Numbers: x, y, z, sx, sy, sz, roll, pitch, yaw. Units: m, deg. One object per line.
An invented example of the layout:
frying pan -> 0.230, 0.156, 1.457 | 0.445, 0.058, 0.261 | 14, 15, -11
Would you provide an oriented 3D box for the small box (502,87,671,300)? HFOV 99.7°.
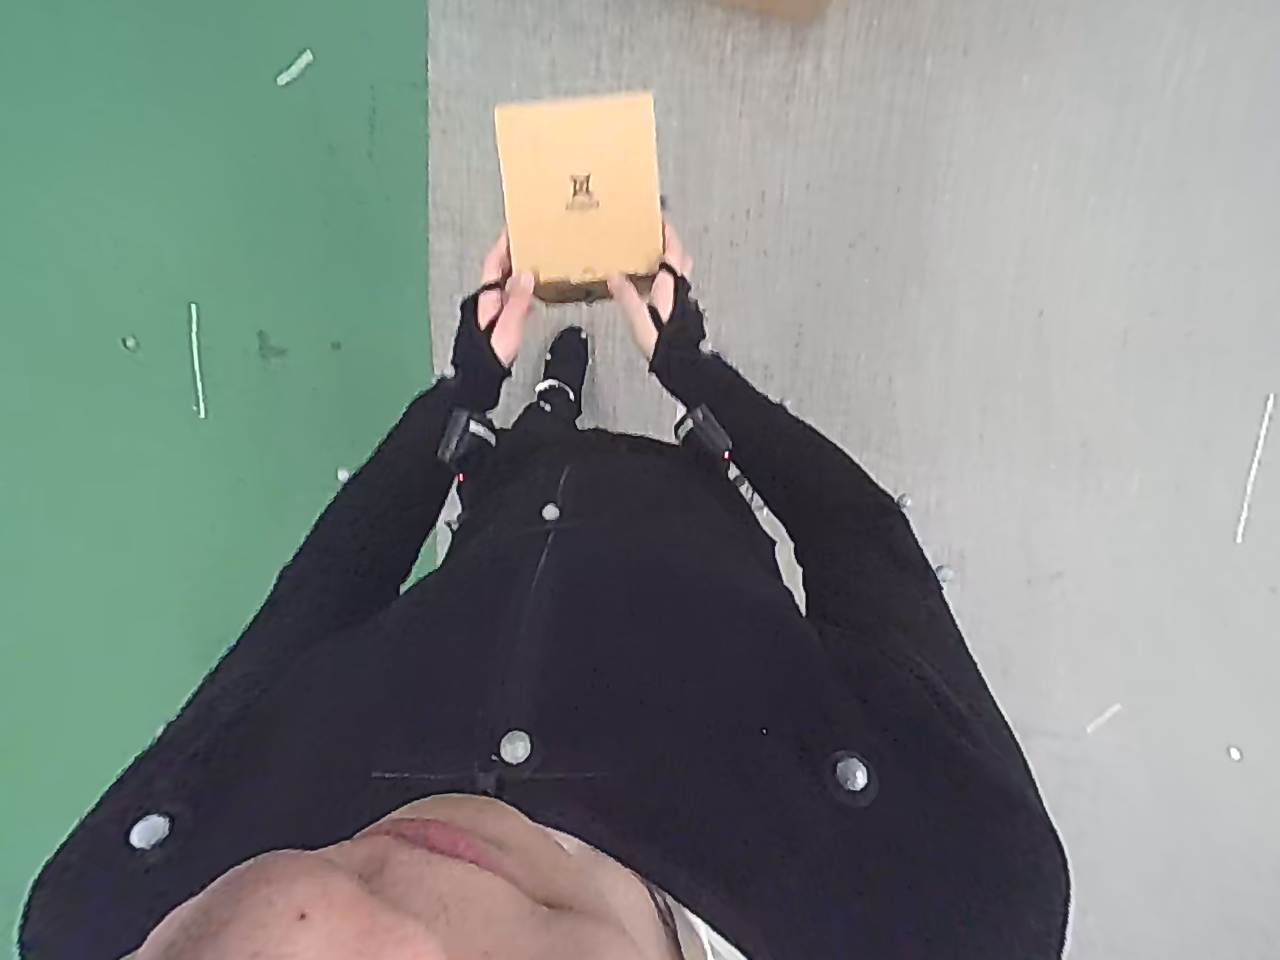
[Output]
small box -> -0.054, -0.317, 0.632 | 0.168, 0.176, 0.179 | -4, 101, 1
